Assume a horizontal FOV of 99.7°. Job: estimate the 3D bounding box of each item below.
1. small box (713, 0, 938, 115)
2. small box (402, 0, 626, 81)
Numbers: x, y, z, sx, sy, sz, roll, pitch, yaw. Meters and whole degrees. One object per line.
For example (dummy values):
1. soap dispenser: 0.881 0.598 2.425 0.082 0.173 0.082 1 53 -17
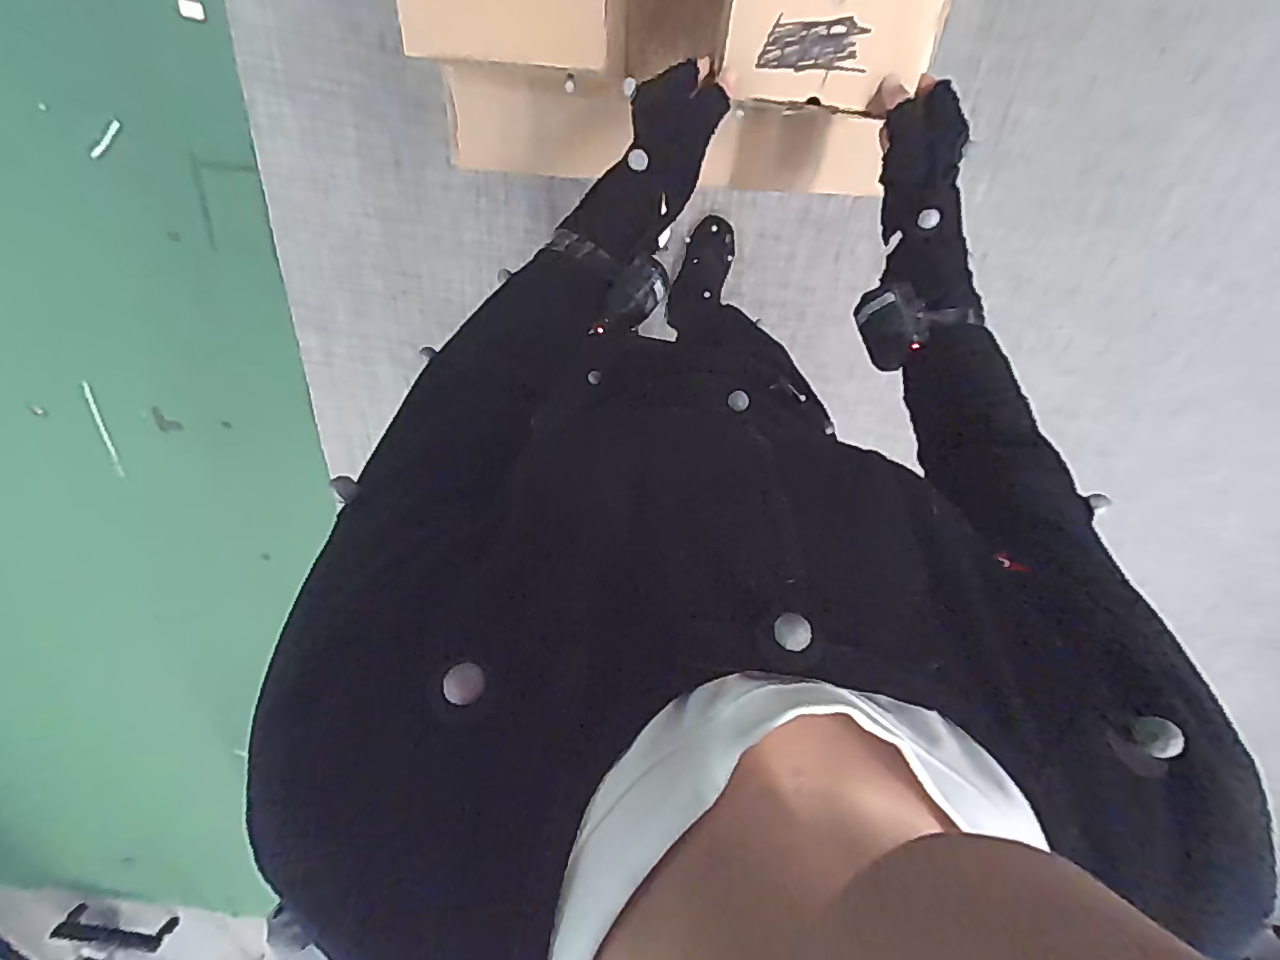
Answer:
1. small box: 0.160 -0.439 0.481 0.168 0.176 0.179 7 124 0
2. small box: -0.103 -0.471 0.488 0.179 0.176 0.168 5 123 3
